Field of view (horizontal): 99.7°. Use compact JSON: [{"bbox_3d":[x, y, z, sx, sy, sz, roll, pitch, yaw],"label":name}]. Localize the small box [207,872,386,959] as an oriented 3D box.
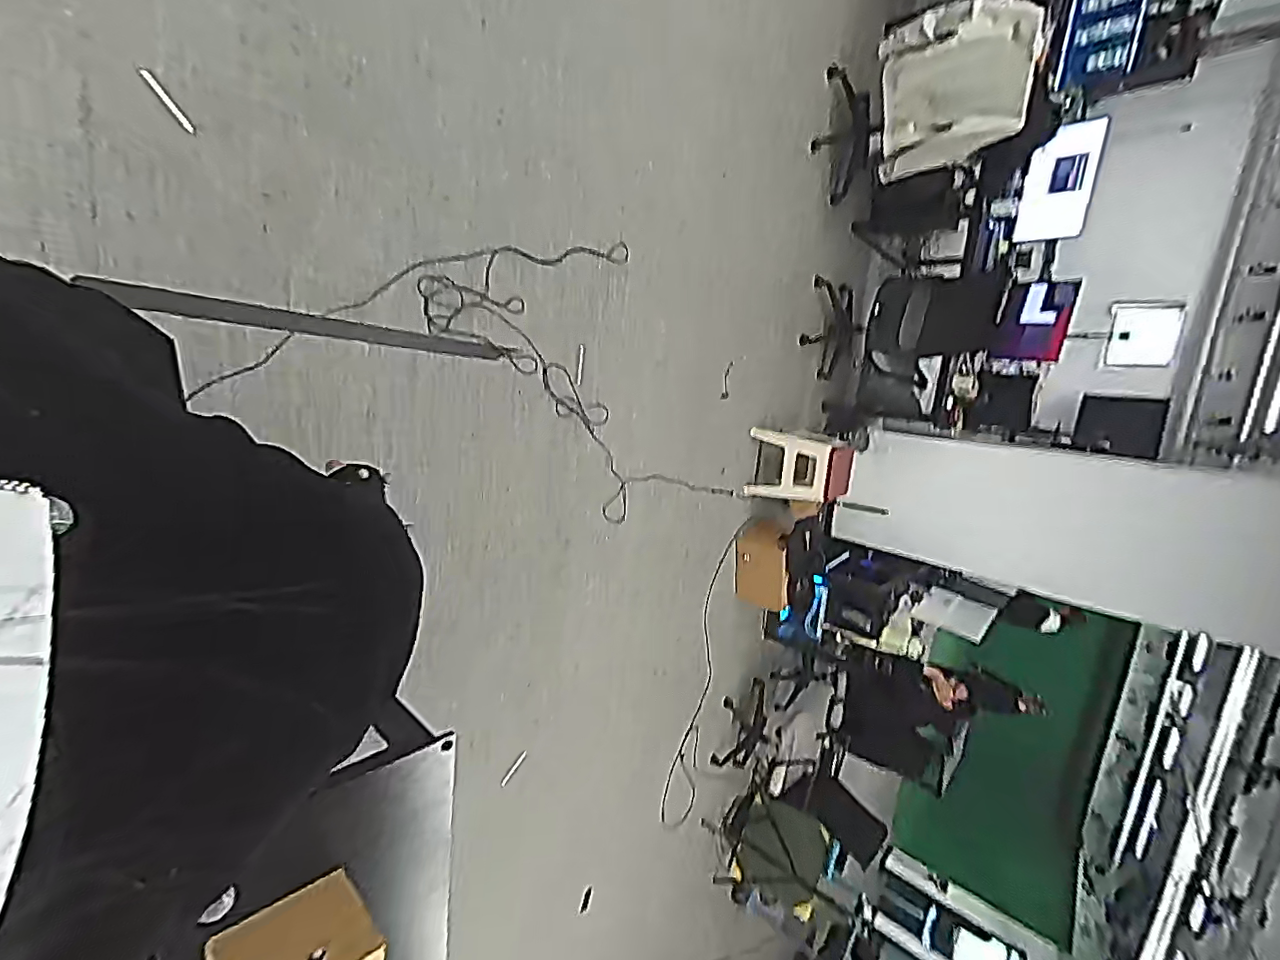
[{"bbox_3d":[-0.488,0.721,0.771,0.179,0.176,0.168,-4,104,-48],"label":"small box"}]
